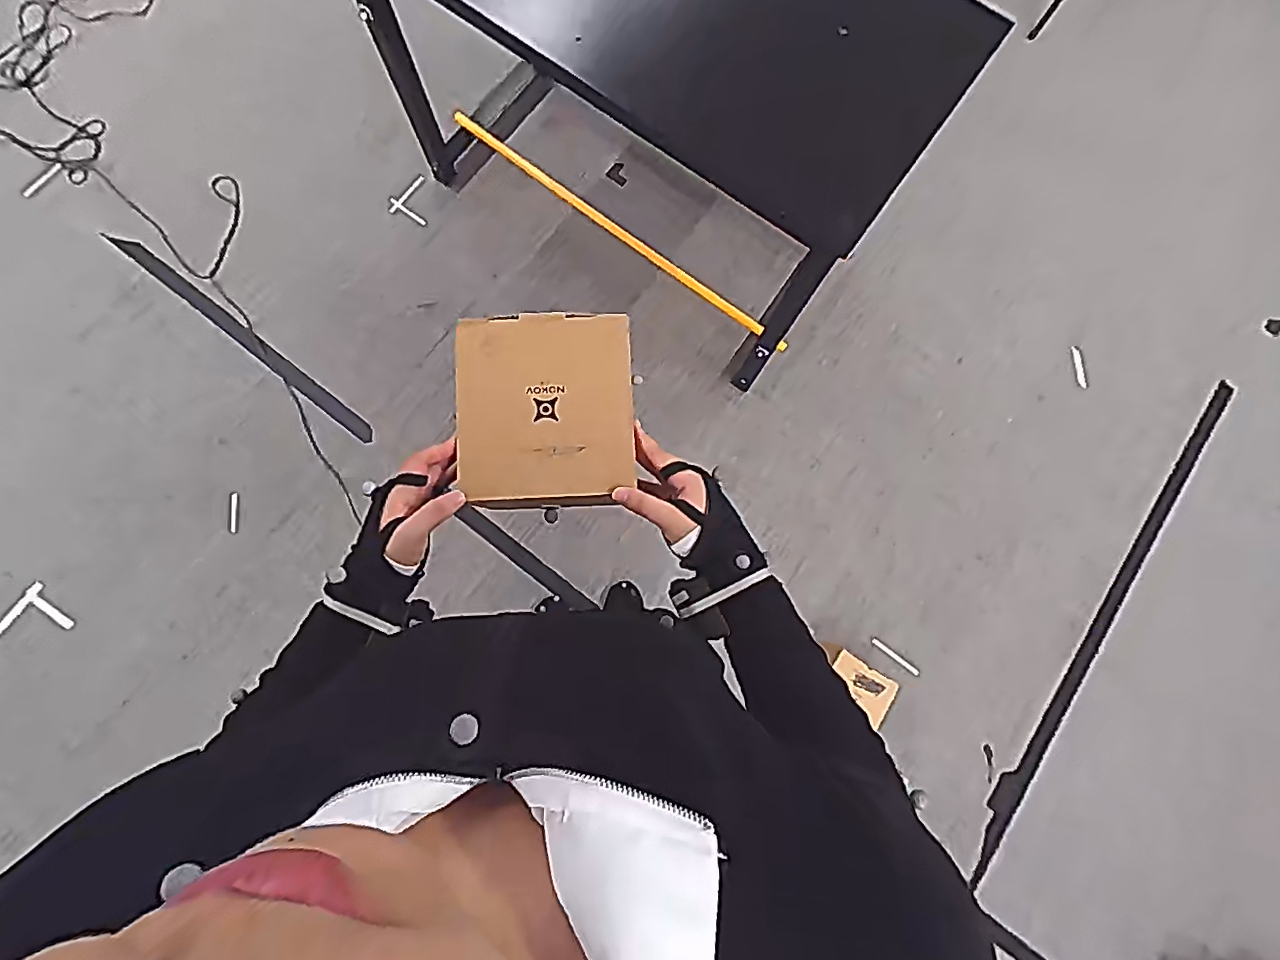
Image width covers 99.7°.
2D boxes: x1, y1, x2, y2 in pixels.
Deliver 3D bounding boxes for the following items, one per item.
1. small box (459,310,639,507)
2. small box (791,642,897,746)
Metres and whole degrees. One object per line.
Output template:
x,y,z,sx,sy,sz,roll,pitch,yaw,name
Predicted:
-0.091,-0.065,0.583,0.168,0.176,0.179,-3,84,-3,small box
0.516,0.542,1.399,0.168,0.176,0.179,33,80,4,small box
